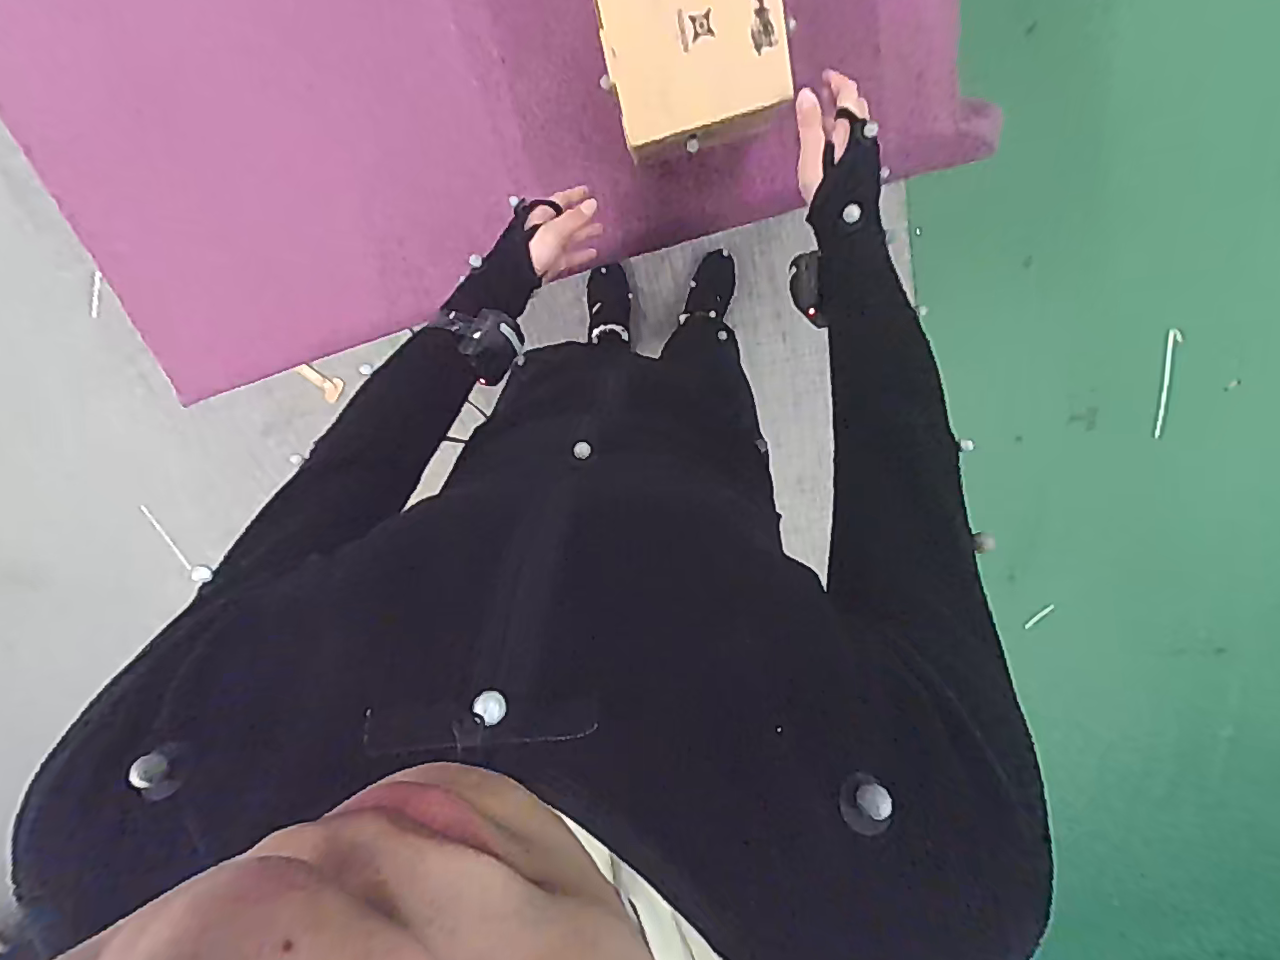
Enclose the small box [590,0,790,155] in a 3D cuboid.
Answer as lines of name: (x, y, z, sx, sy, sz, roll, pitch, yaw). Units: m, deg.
small box: (0.051, -0.471, 0.581, 0.179, 0.176, 0.168, -11, 113, 9)
